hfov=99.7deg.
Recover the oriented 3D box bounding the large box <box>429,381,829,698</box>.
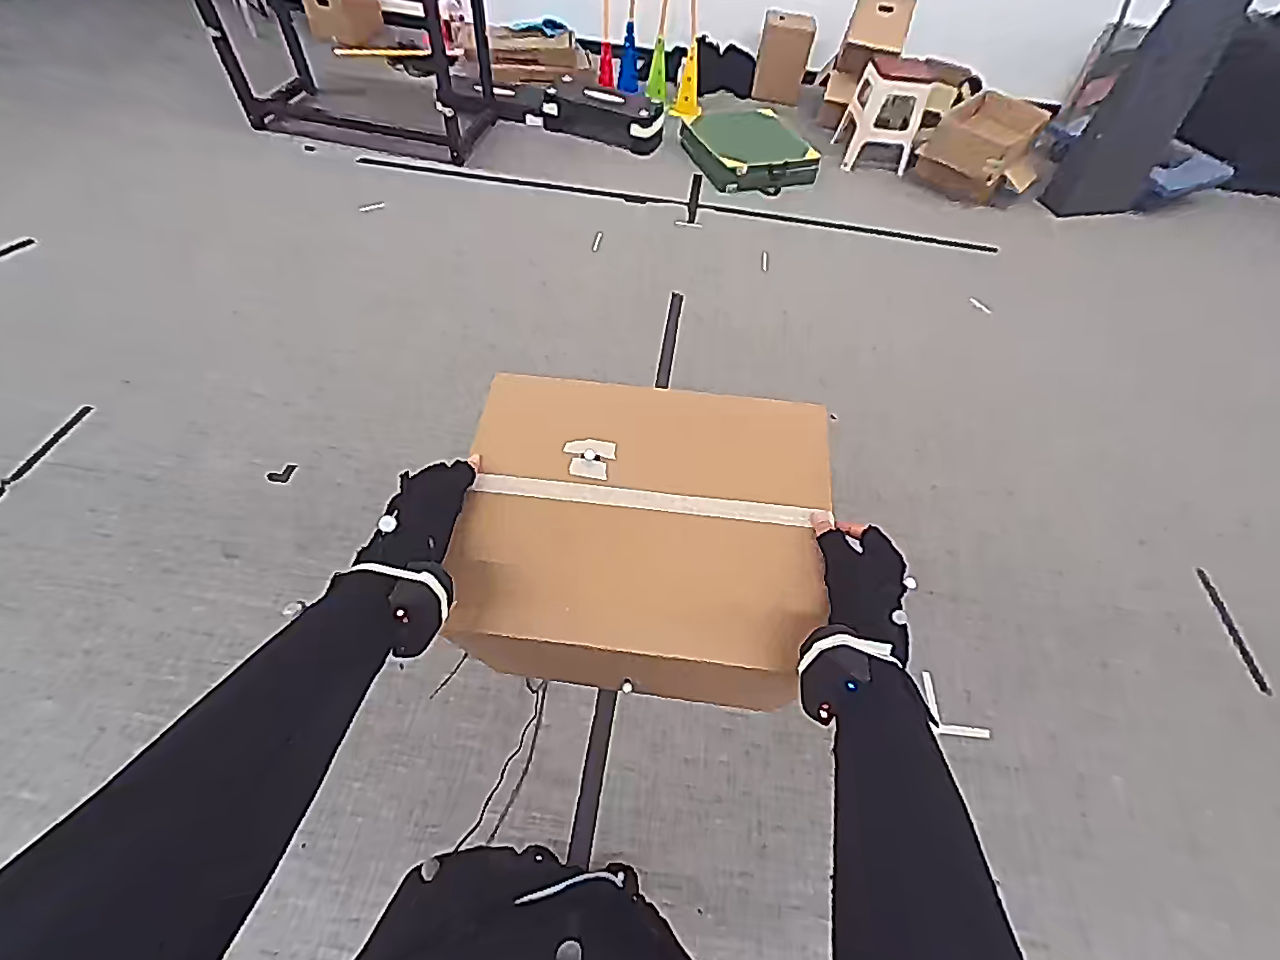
[{"bbox_3d":[0.007,0.096,0.727,0.408,0.320,0.320,6,61,5],"label":"large box"}]
